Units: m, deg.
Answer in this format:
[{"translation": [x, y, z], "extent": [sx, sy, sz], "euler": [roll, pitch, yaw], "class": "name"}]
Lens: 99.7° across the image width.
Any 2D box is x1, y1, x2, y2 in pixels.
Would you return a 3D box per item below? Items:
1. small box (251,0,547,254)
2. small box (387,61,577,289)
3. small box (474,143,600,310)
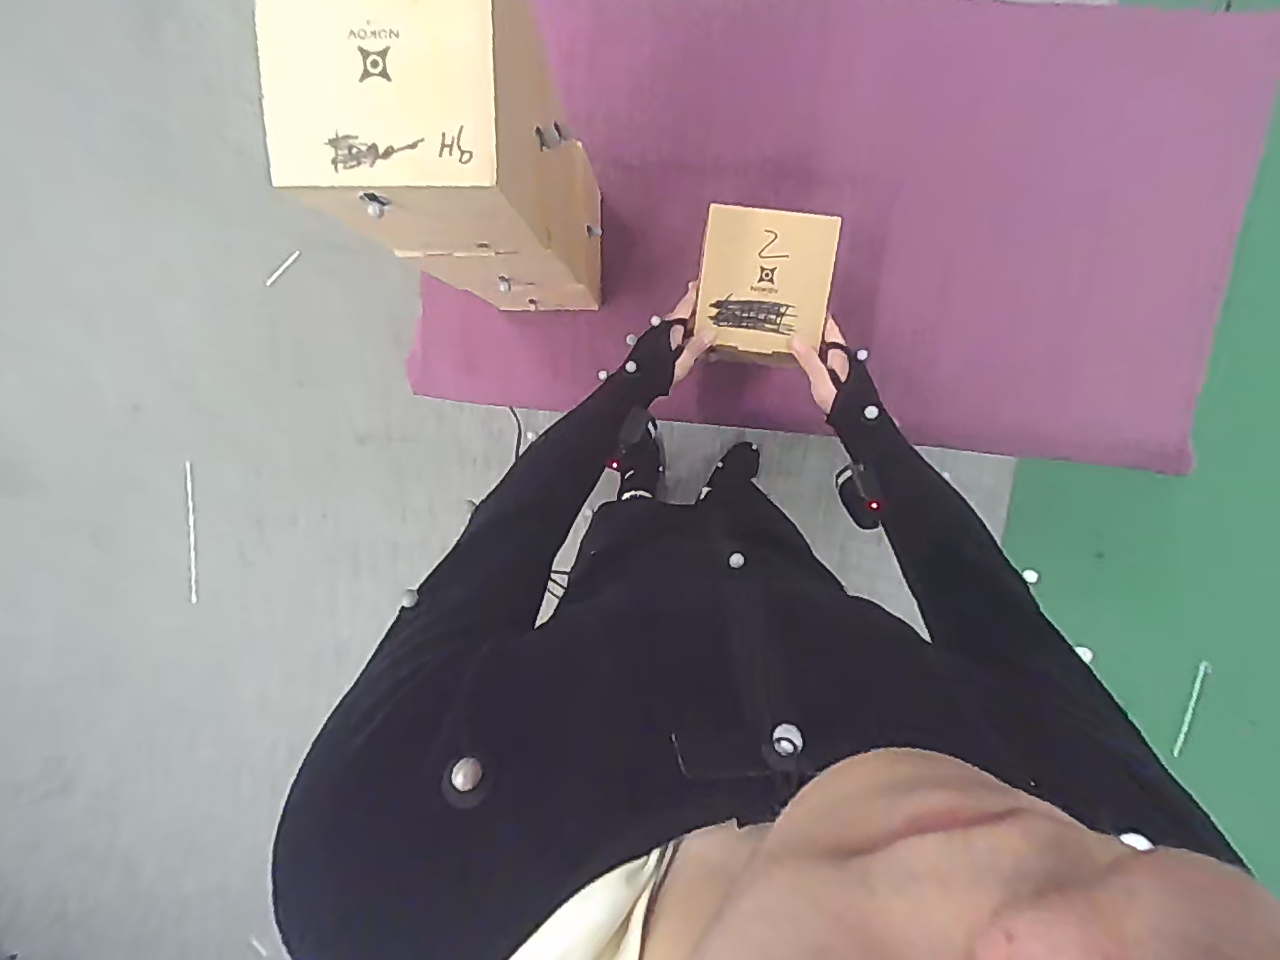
[{"translation": [-0.176, -0.302, 0.443], "extent": [0.168, 0.176, 0.179], "euler": [2, 98, 3], "class": "small box"}, {"translation": [-0.167, -0.323, 0.605], "extent": [0.168, 0.176, 0.179], "euler": [0, 98, 4], "class": "small box"}, {"translation": [-0.150, -0.346, 0.767], "extent": [0.168, 0.176, 0.179], "euler": [0, 99, 3], "class": "small box"}]
